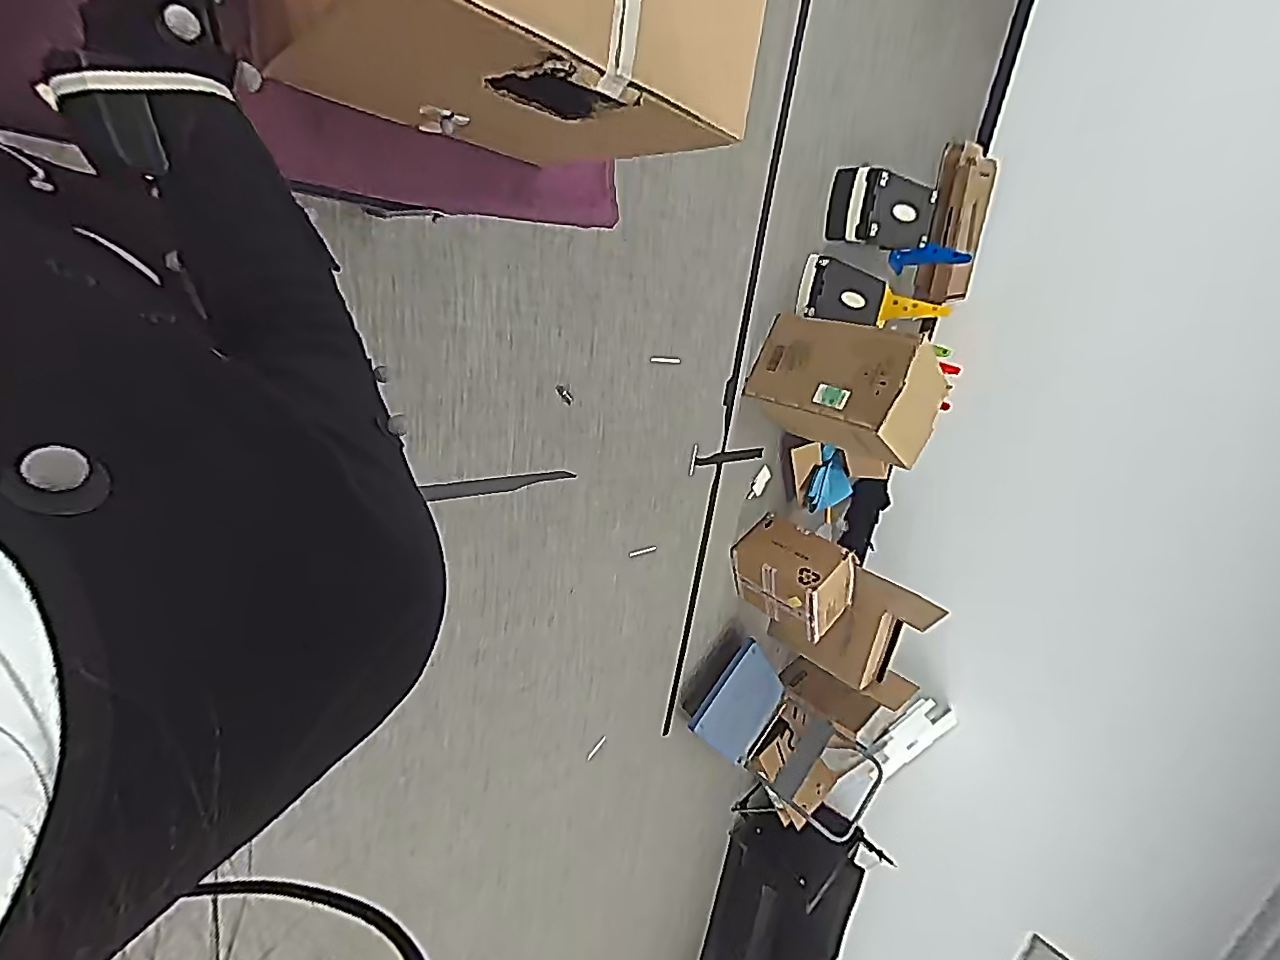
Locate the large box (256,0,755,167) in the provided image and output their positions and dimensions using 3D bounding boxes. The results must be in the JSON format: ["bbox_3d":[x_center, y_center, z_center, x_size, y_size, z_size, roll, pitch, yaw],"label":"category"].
[{"bbox_3d":[-0.104,-0.513,0.421,0.320,0.320,0.408,-10,115,-44],"label":"large box"}]
